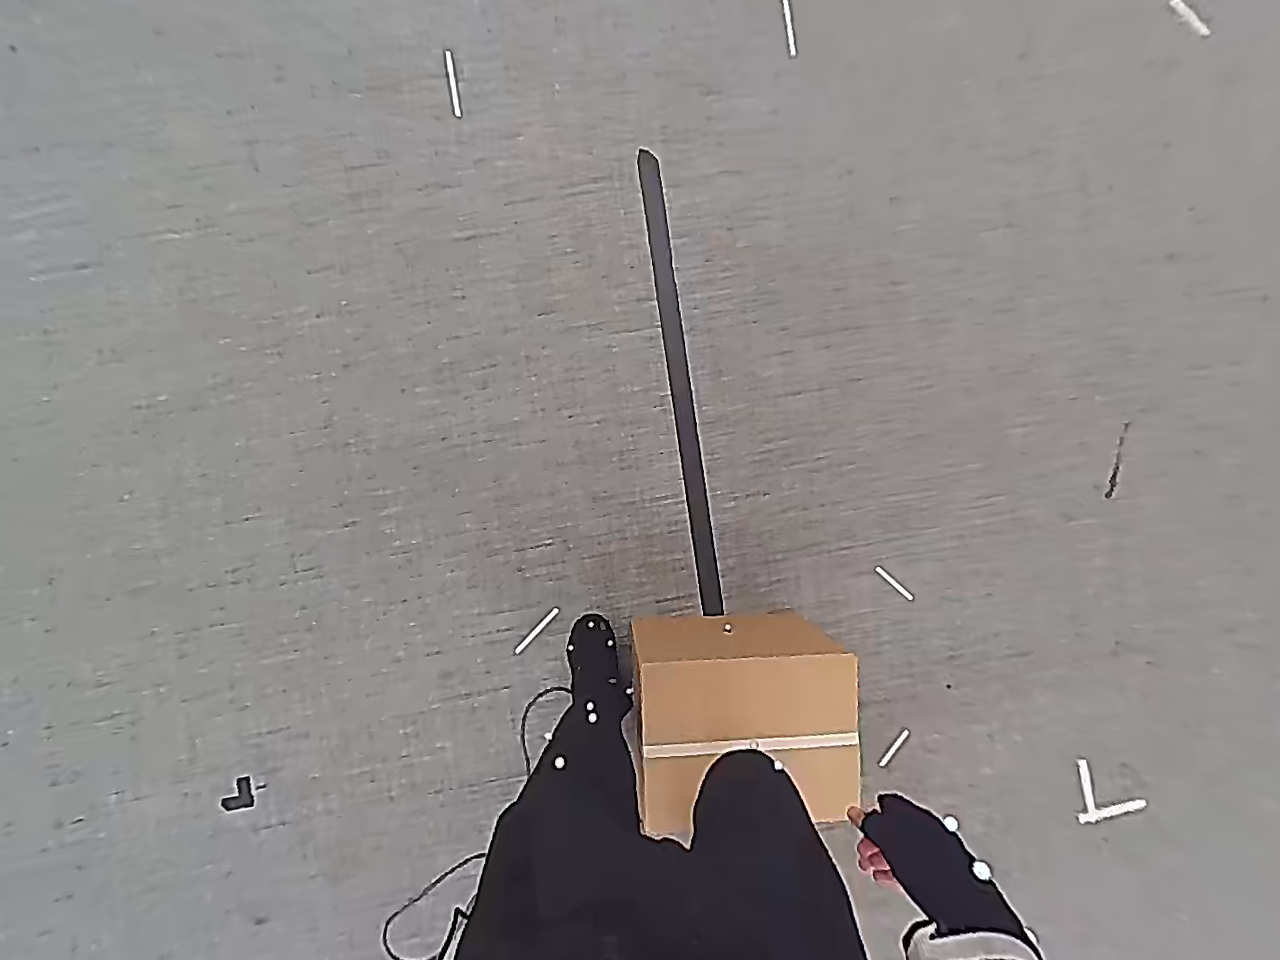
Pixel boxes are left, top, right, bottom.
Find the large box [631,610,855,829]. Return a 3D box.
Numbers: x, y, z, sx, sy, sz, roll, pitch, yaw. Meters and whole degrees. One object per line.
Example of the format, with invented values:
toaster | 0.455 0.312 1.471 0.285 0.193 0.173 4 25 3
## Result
large box | 0.192 0.473 1.142 0.408 0.320 0.320 -1 90 -4
